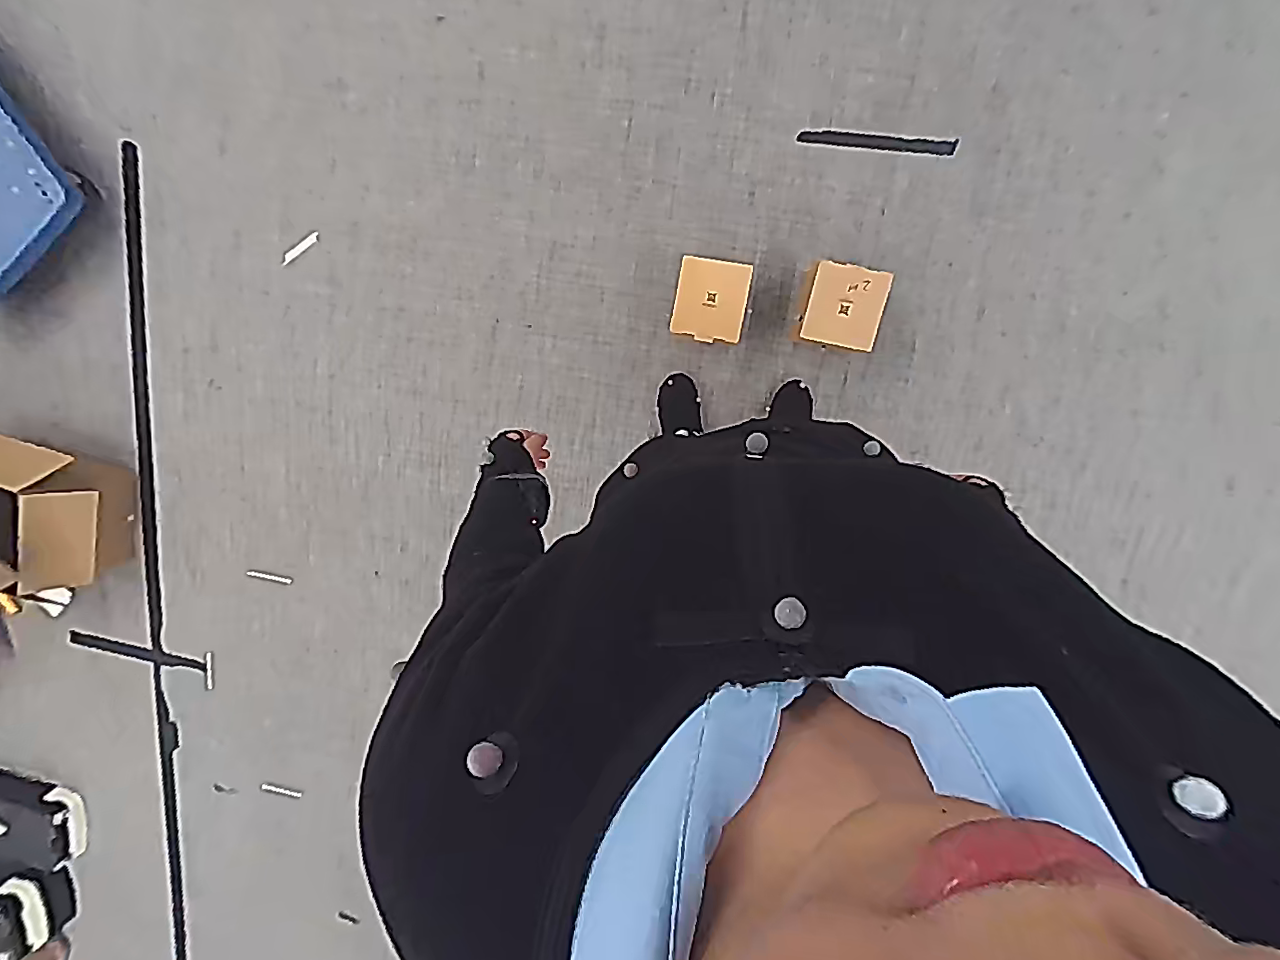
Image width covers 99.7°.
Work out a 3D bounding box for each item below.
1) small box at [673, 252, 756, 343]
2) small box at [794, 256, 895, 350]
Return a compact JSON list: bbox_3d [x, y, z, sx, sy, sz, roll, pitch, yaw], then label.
[{"bbox_3d":[0.178,-0.438,1.321,0.168,0.176,0.179,11,103,5],"label":"small box"},{"bbox_3d":[0.474,-0.412,1.285,0.168,0.176,0.179,13,103,4],"label":"small box"}]
